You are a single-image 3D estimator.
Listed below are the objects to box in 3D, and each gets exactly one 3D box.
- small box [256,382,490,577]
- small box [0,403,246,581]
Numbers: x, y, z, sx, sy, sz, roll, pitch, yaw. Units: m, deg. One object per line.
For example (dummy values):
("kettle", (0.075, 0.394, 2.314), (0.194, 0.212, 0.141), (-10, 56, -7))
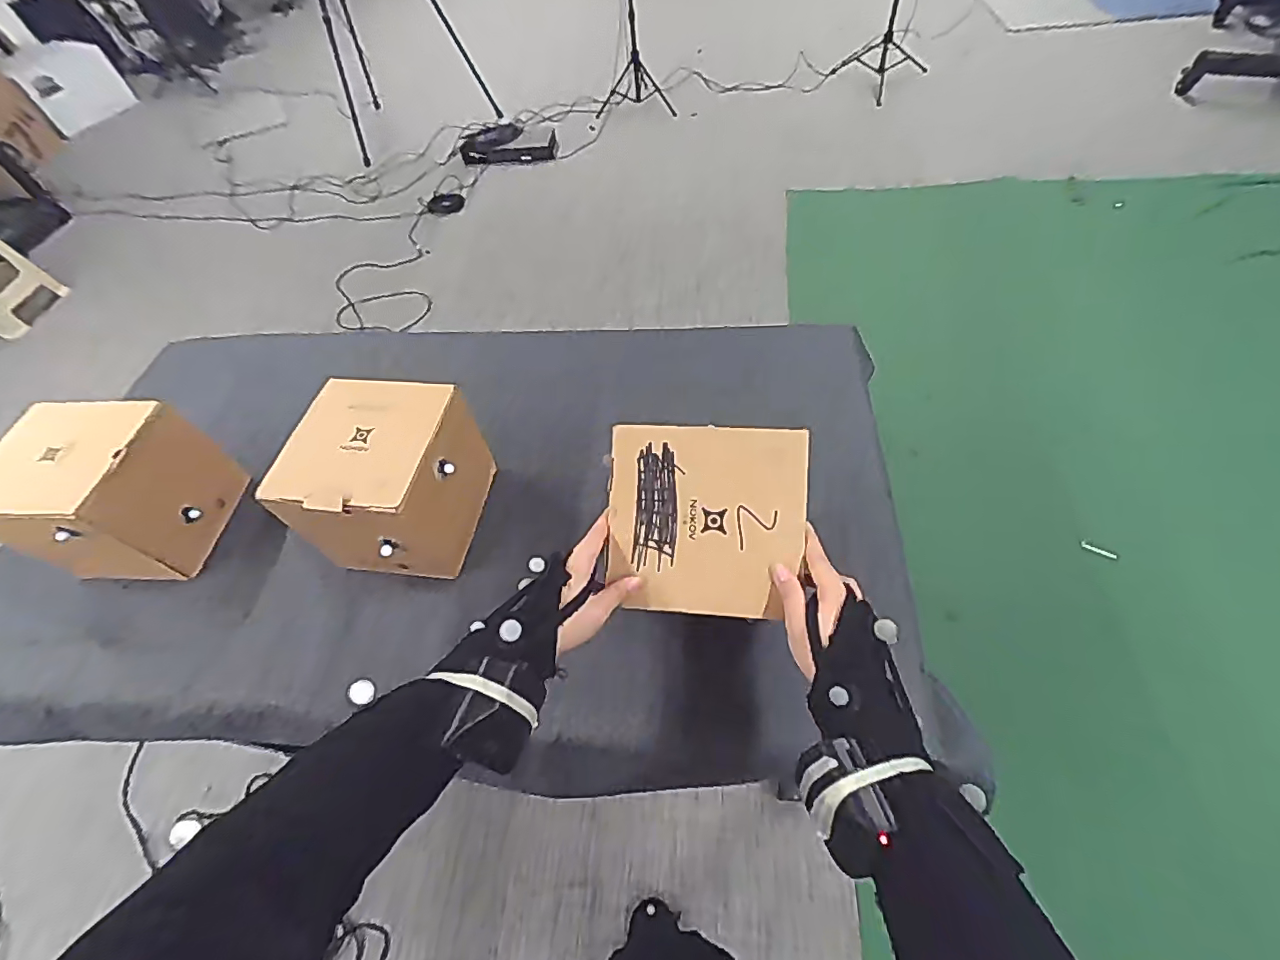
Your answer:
("small box", (-0.301, 0.003, 0.659), (0.168, 0.176, 0.179), (4, 55, 8))
("small box", (-0.667, 0.020, 0.688), (0.179, 0.176, 0.168), (0, 55, 5))
